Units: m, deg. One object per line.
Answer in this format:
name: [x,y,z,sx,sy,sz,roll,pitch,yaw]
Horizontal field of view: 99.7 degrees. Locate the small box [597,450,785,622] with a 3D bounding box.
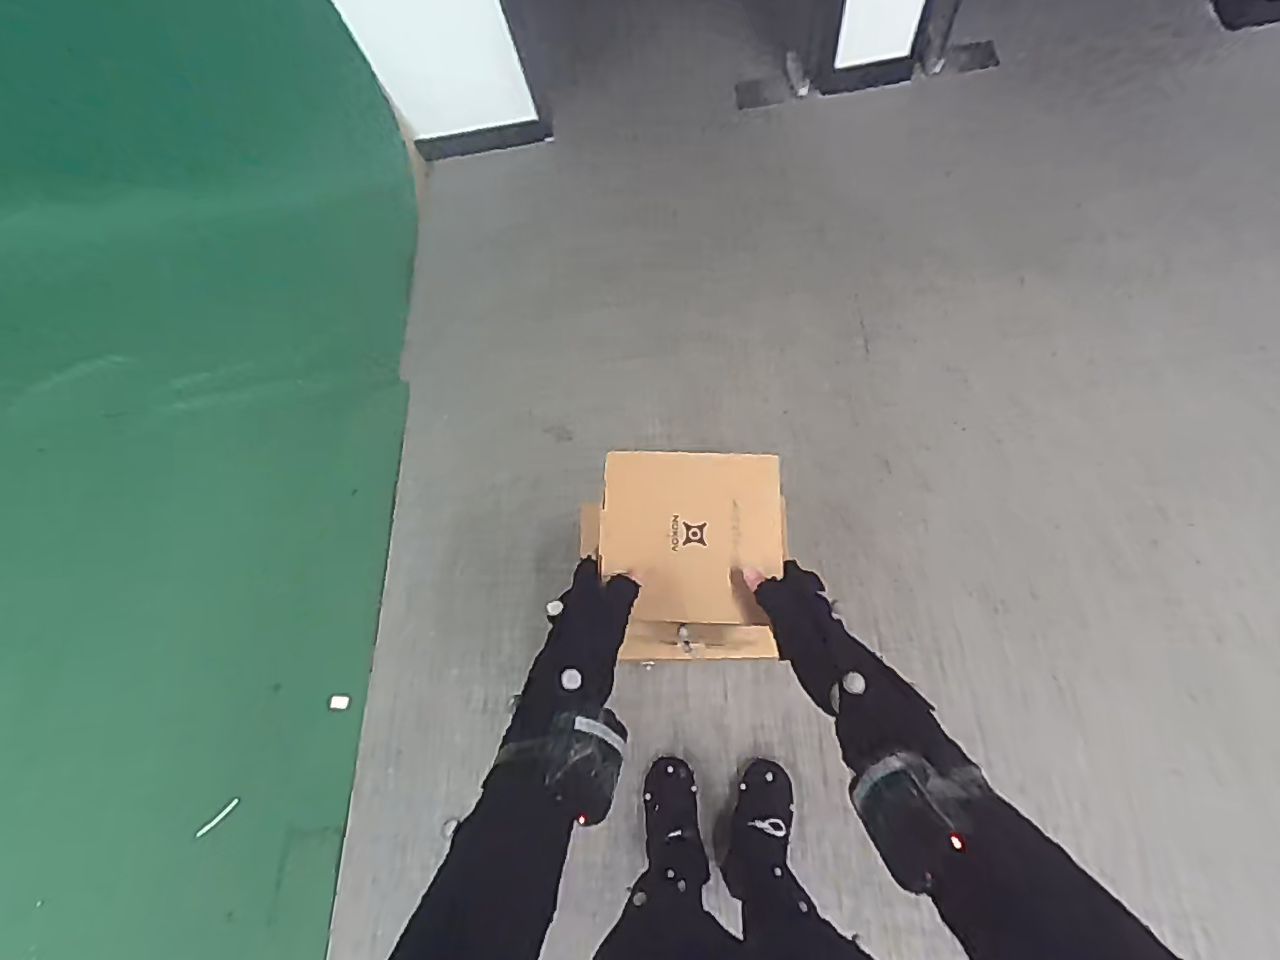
small box: [0.051,0.069,0.592,0.179,0.176,0.168,0,77,2]

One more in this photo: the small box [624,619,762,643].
small box: [0.083,0.147,0.783,0.179,0.176,0.168,-2,72,12]
